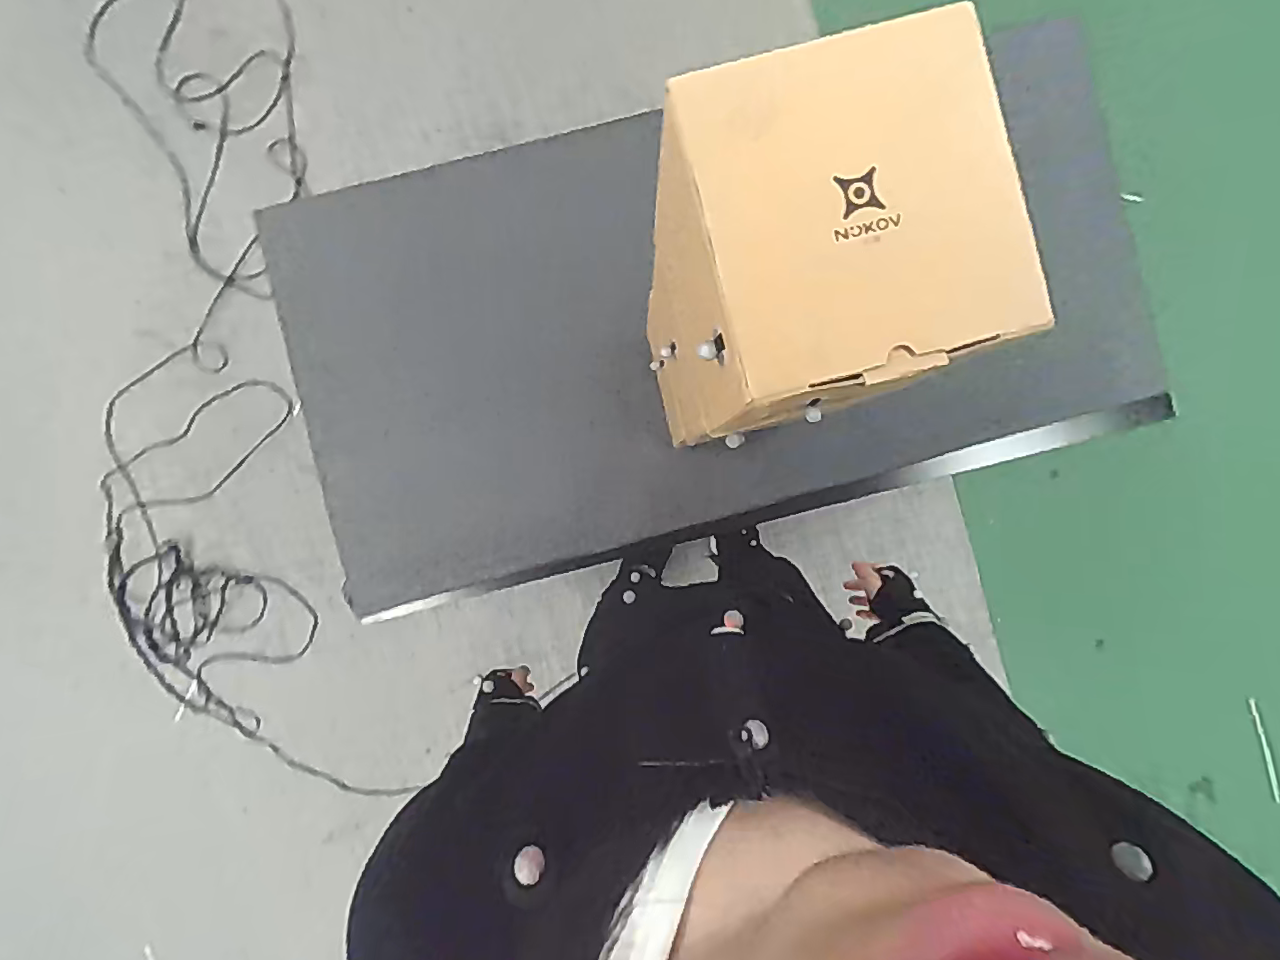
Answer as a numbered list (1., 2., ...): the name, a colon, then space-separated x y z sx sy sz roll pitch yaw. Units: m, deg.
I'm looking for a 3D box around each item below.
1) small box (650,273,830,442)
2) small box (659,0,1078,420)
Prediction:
1. small box: 0.109 -0.154 0.669 0.168 0.176 0.179 -13 90 0
2. small box: 0.112 -0.150 0.343 0.168 0.176 0.179 -16 90 0
